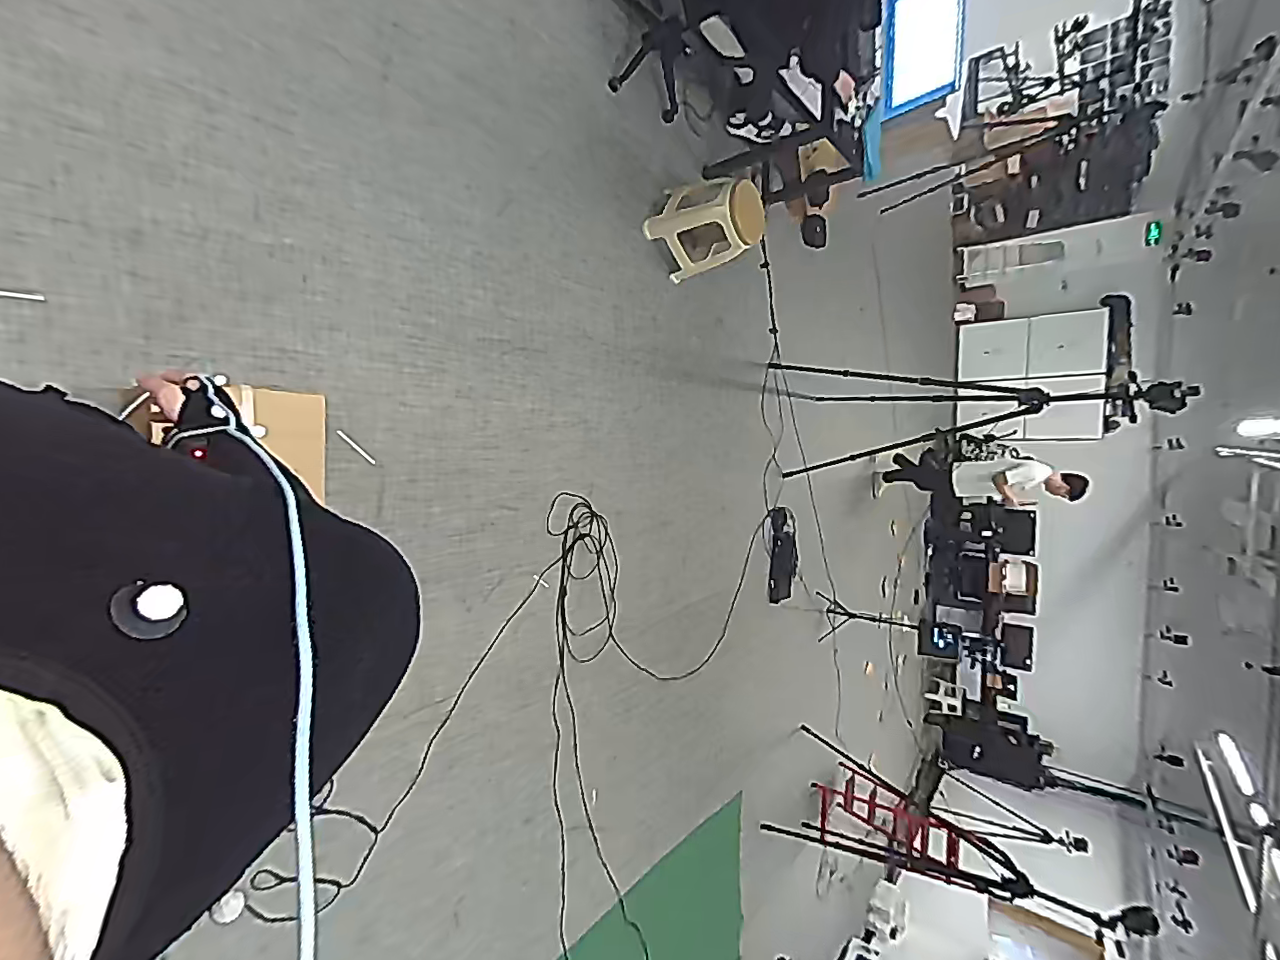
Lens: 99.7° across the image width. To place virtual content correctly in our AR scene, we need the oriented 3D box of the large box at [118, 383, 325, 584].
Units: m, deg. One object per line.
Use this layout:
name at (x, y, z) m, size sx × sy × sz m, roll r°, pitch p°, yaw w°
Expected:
large box at (-0.969, -0.006, 1.260) m, size 0.320 × 0.320 × 0.408 m, roll -3°, pitch 95°, yaw -51°
